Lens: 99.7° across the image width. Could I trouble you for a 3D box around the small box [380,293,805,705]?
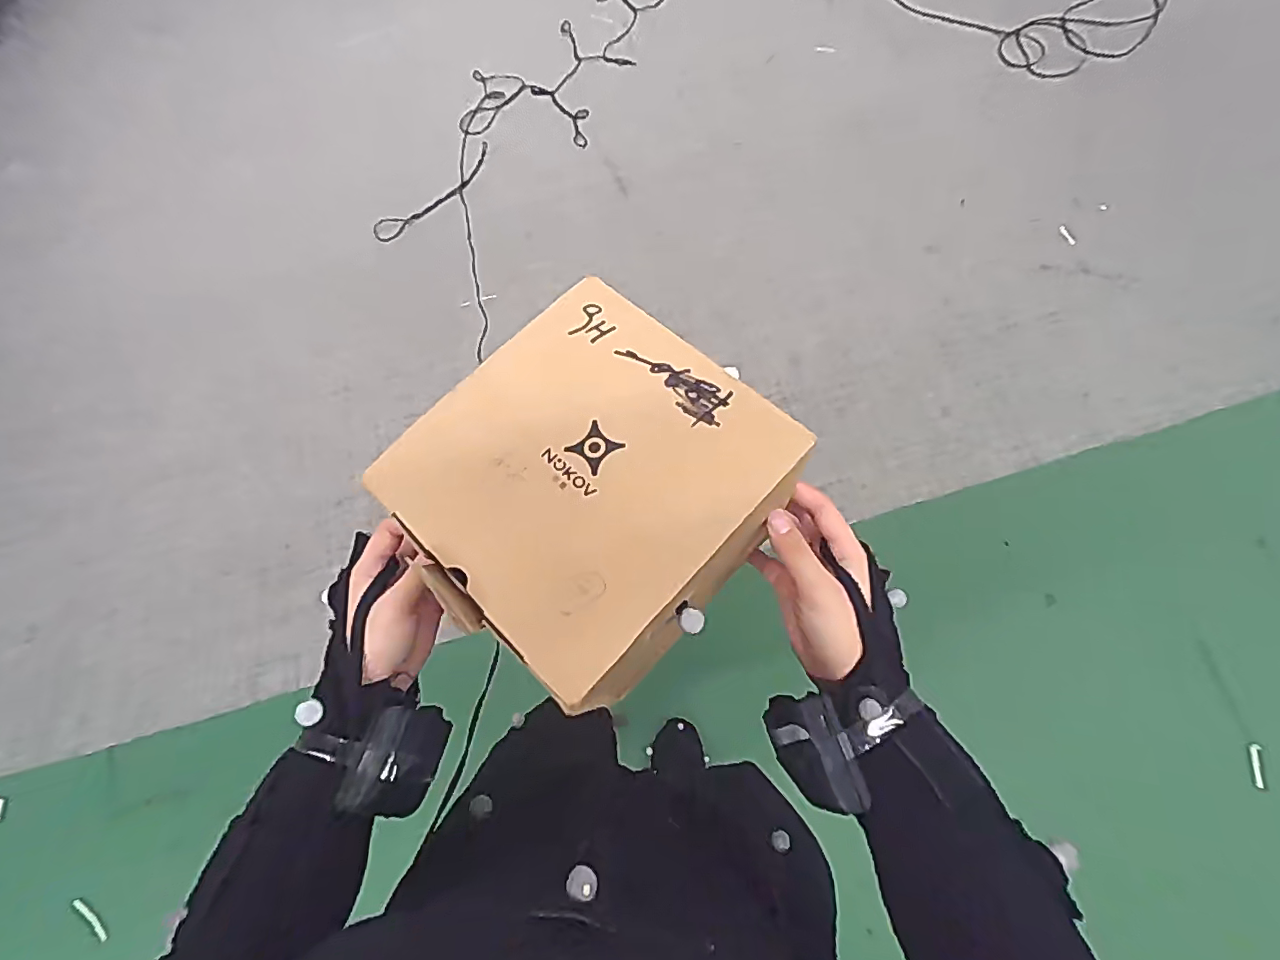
[{"bbox_3d":[-0.020,0.024,0.360,0.168,0.176,0.179,41,78,18],"label":"small box"}]
